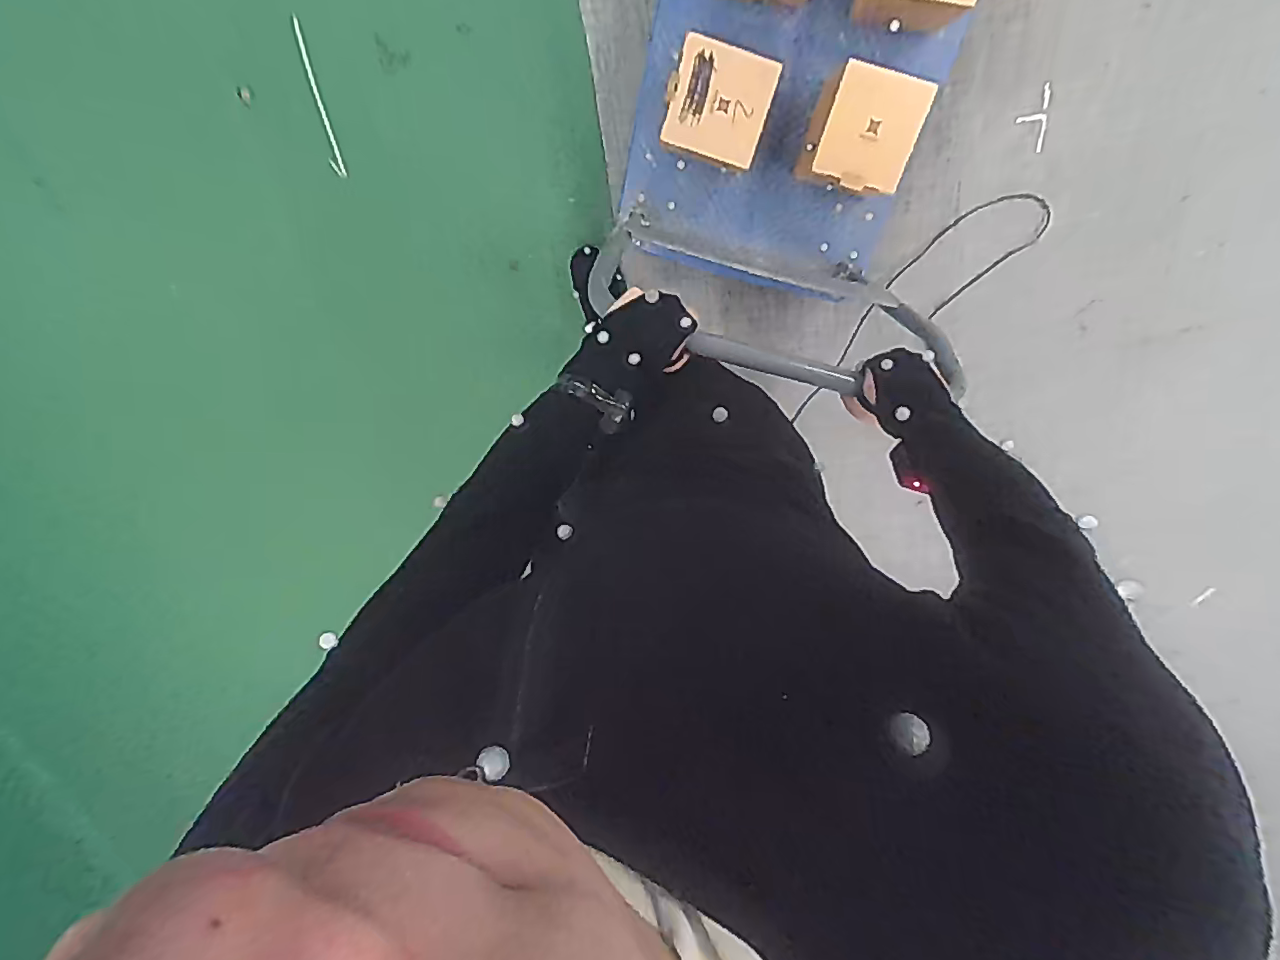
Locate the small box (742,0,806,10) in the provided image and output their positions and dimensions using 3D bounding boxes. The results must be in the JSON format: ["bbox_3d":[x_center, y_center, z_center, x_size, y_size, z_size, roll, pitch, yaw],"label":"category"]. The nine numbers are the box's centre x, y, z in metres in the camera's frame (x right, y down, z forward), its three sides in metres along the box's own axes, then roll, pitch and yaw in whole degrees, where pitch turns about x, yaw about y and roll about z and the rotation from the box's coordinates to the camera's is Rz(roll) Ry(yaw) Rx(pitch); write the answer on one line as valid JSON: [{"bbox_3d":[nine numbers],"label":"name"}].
[{"bbox_3d":[0.230,-0.929,0.906,0.168,0.176,0.179,8,117,-1],"label":"small box"}]

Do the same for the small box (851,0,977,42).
[{"bbox_3d":[0.480,-0.883,0.913,0.168,0.176,0.179,10,118,-1],"label":"small box"}]

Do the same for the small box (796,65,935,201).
[{"bbox_3d":[0.416,-0.653,1.037,0.168,0.176,0.179,14,117,-4],"label":"small box"}]
